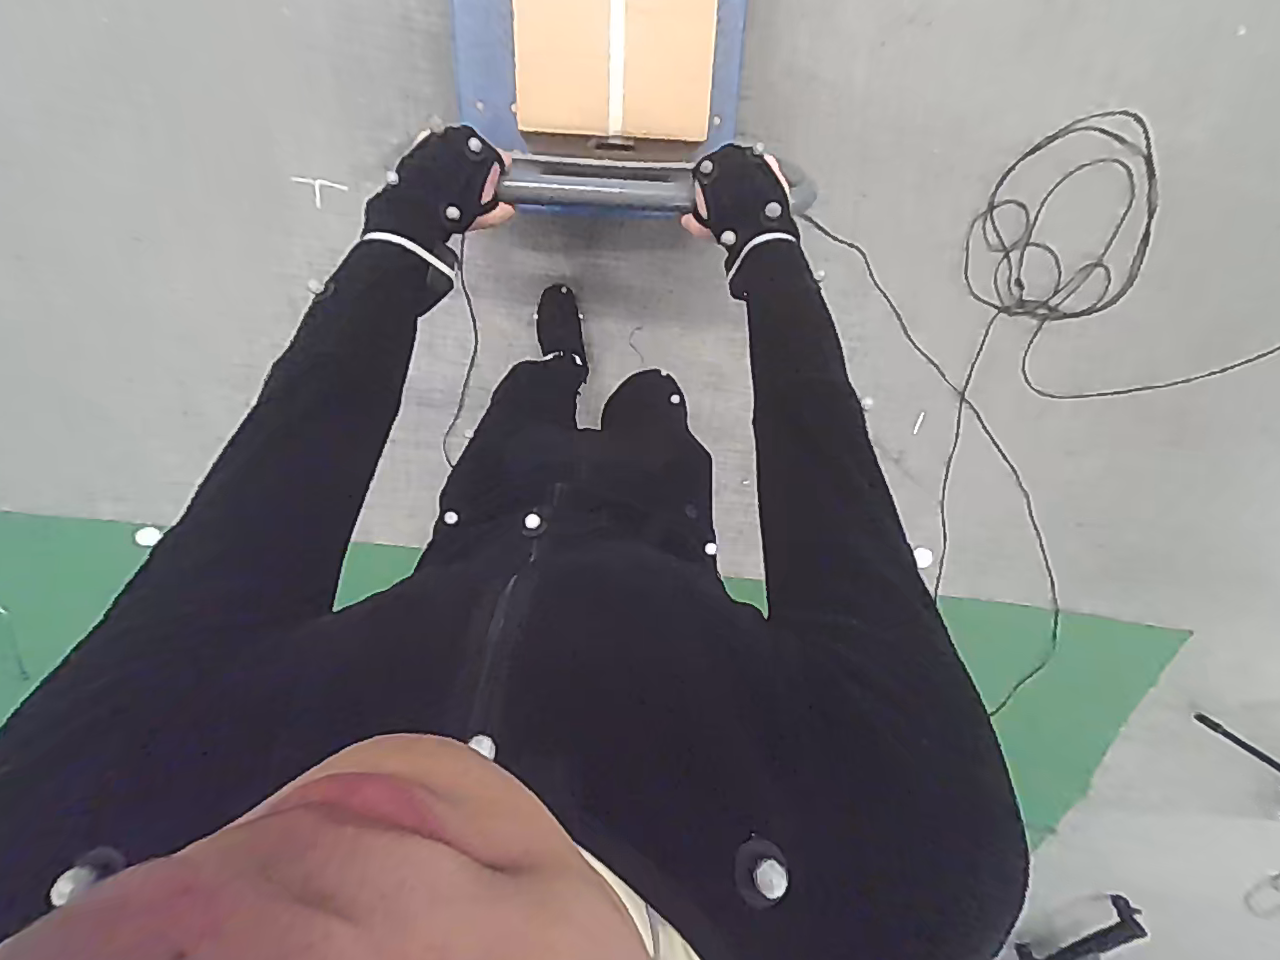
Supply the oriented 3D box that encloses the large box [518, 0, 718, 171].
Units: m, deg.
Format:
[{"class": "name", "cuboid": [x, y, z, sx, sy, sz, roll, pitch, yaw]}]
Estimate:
[{"class": "large box", "cuboid": [-0.041, -0.799, 0.957, 0.320, 0.320, 0.408, 0, 112, -5]}]
